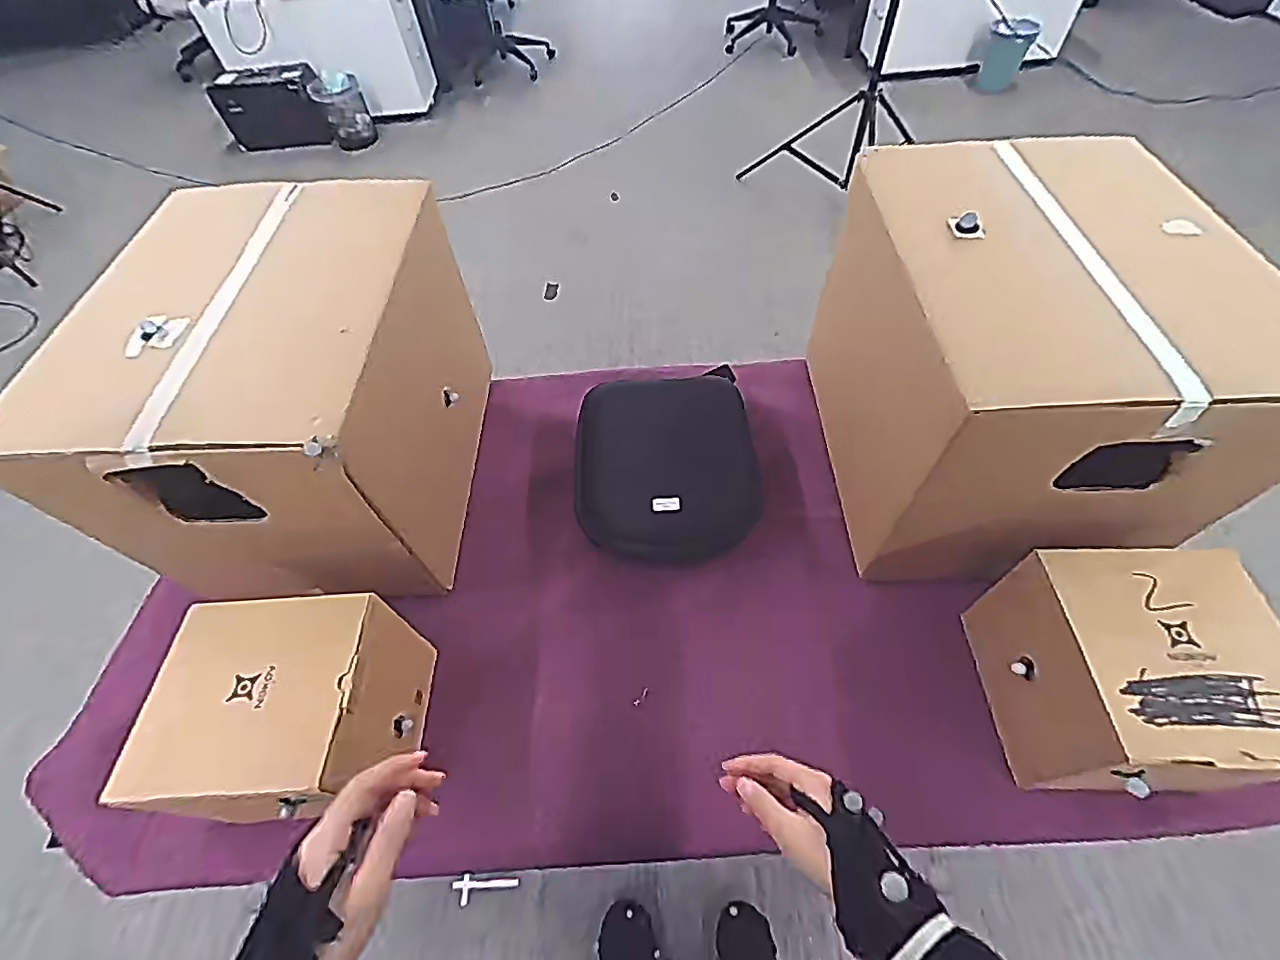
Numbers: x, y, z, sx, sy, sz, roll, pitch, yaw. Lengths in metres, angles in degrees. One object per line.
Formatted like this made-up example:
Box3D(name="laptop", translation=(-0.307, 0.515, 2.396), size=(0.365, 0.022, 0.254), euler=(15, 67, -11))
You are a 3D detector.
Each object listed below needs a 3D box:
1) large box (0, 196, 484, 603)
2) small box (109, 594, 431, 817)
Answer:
Box3D(name="large box", translation=(-0.401, -0.093, 0.677), size=(0.320, 0.320, 0.408), euler=(-3, 58, 1))
Box3D(name="small box", translation=(-0.335, 0.228, 0.537), size=(0.179, 0.176, 0.168), euler=(-4, 54, 1))
